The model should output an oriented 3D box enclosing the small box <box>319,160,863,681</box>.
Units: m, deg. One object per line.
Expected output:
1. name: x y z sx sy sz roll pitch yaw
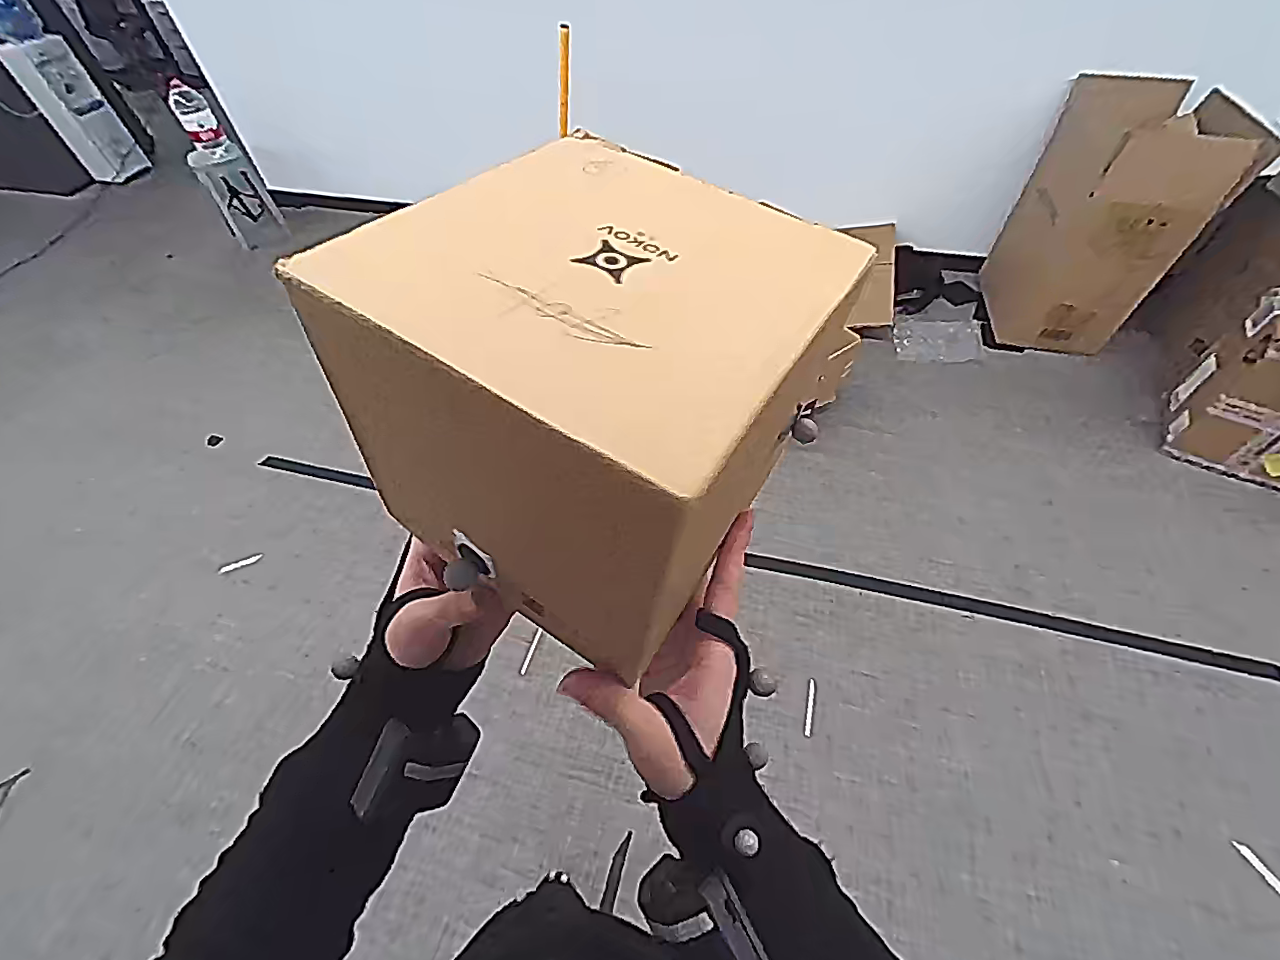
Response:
1. small box: -0.016 -0.030 0.287 0.168 0.176 0.179 29 55 14
